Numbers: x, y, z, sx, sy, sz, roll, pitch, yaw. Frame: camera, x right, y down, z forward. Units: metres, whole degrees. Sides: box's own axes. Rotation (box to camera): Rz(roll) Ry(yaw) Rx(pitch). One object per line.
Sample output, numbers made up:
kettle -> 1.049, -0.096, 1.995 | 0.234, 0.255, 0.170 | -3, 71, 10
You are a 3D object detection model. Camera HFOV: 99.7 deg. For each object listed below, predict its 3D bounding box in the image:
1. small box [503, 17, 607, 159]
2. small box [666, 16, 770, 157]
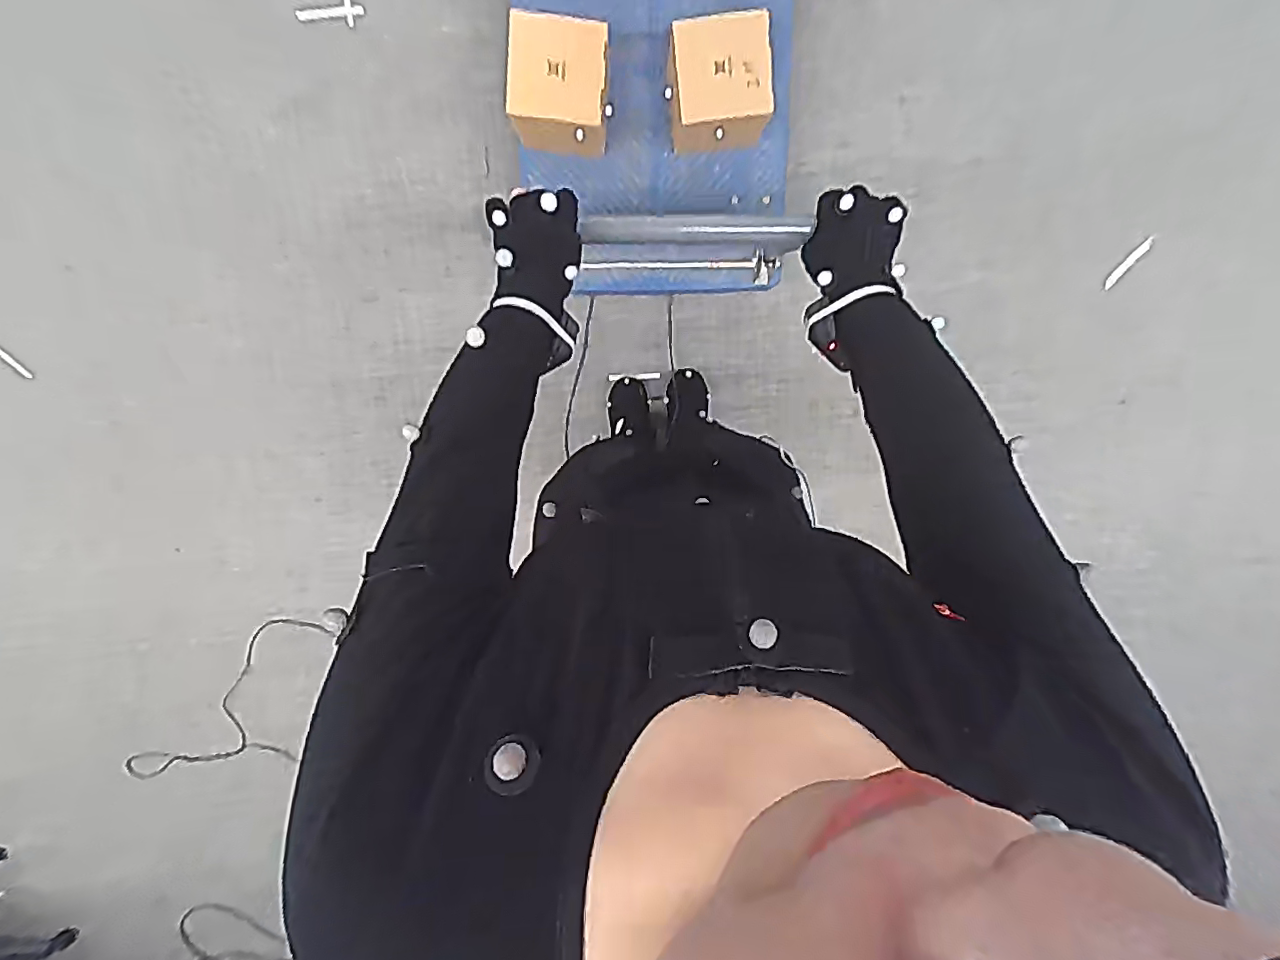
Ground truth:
small box -> -0.159, -0.749, 1.054 | 0.179, 0.176, 0.168 | 4, 102, -4
small box -> 0.145, -0.756, 1.059 | 0.179, 0.176, 0.168 | -7, 103, 0
